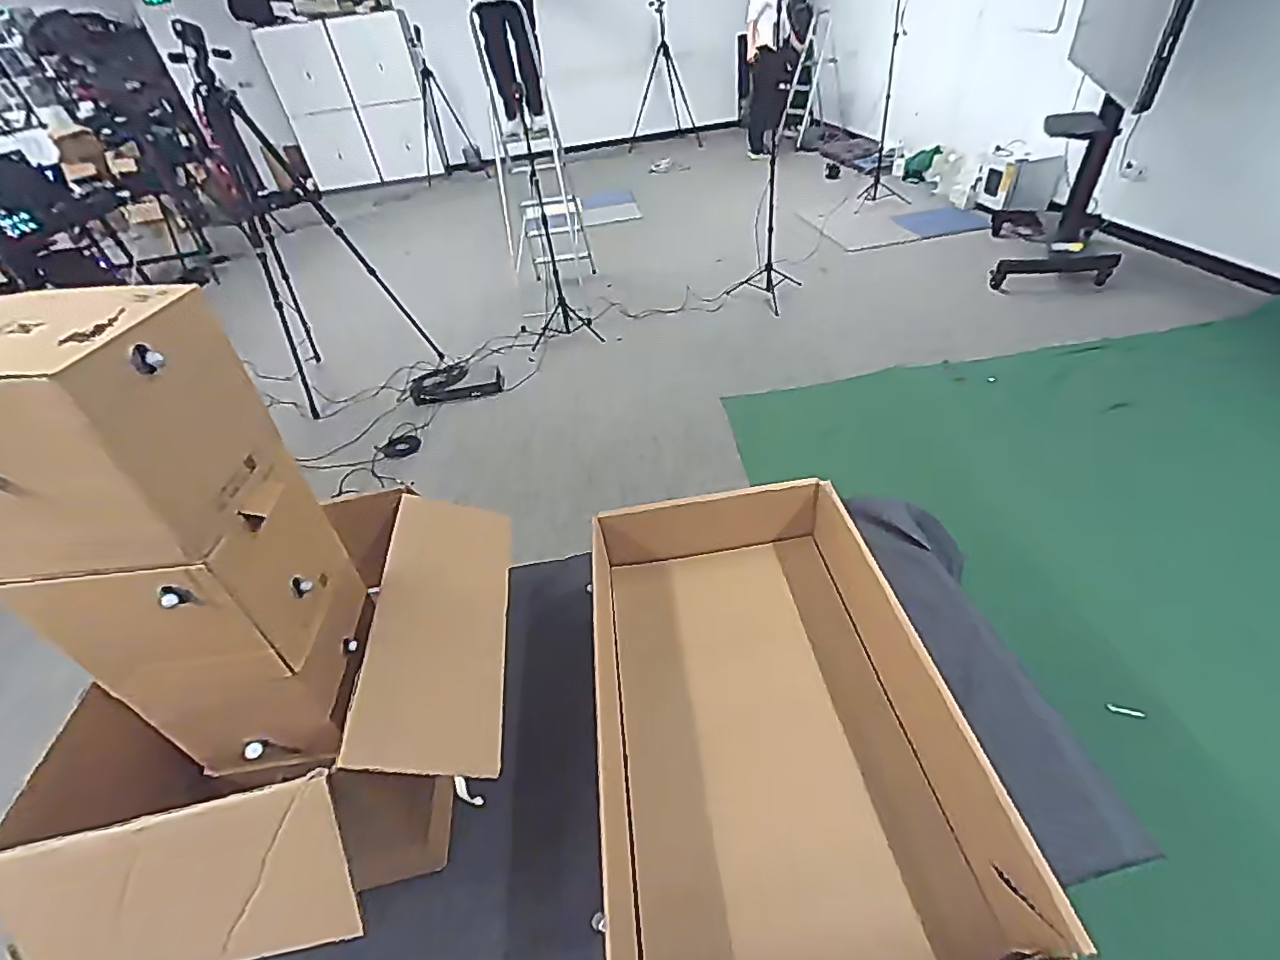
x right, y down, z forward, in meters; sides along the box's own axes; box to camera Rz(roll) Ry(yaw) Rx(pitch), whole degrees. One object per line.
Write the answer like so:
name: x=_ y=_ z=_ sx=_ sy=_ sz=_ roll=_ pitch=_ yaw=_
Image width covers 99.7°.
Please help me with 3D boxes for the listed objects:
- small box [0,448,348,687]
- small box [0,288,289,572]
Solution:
small box: x=-0.432 y=0.088 z=0.543 sx=0.179 sy=0.176 sz=0.168 roll=-5 pitch=39 yaw=-4
small box: x=-0.438 y=-0.041 z=0.441 sx=0.179 sy=0.176 sz=0.168 roll=-5 pitch=39 yaw=-3
